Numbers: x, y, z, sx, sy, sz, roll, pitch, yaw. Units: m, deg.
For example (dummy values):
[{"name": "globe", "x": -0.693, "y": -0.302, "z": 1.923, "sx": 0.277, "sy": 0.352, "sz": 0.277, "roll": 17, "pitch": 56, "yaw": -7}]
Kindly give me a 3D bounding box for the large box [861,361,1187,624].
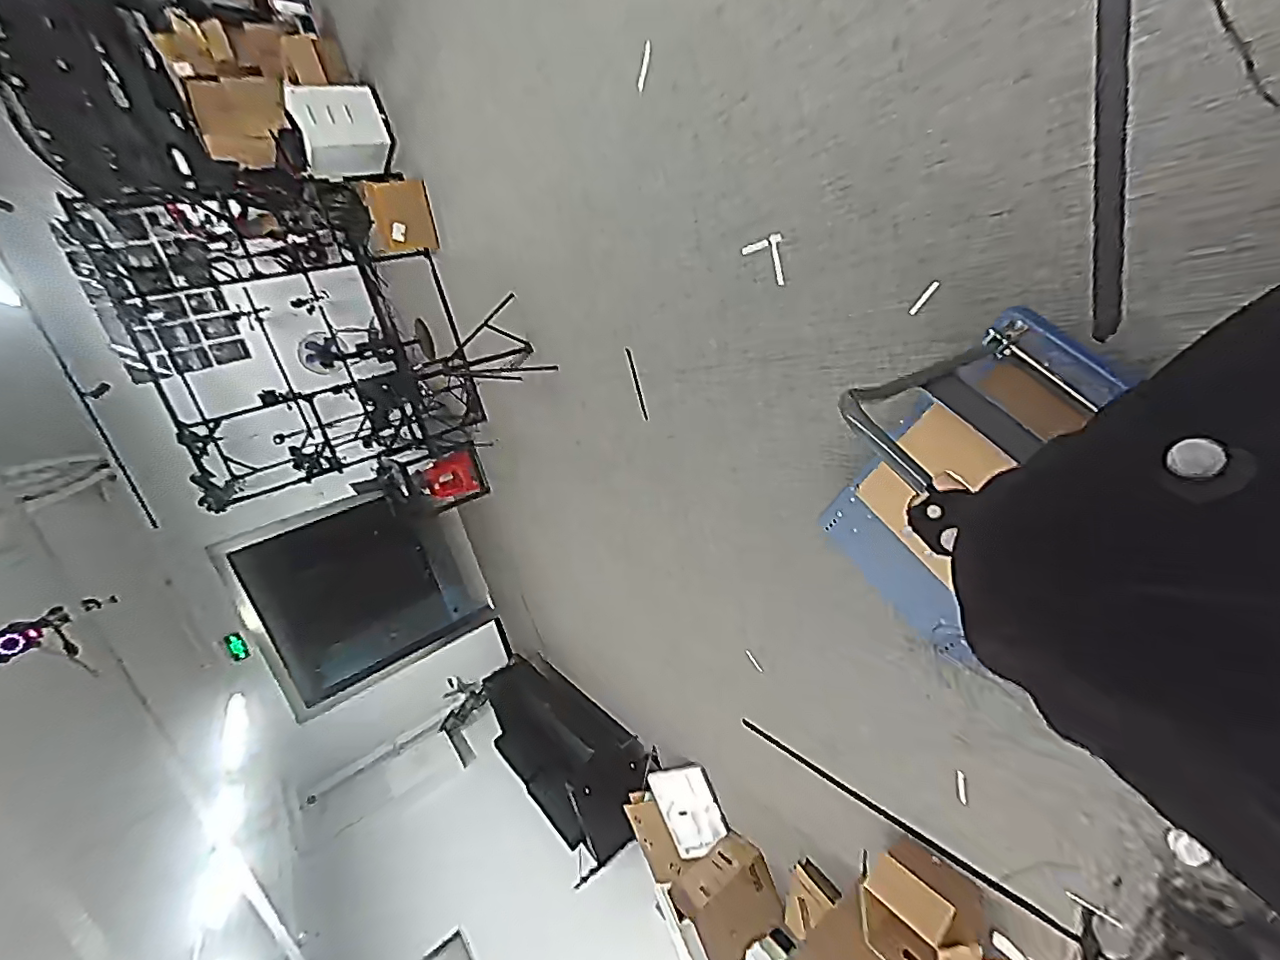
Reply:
[{"name": "large box", "x": 0.781, "y": 0.017, "z": 1.146, "sx": 0.408, "sy": 0.320, "sz": 0.320, "roll": 53, "pitch": 147, "yaw": 24}]
